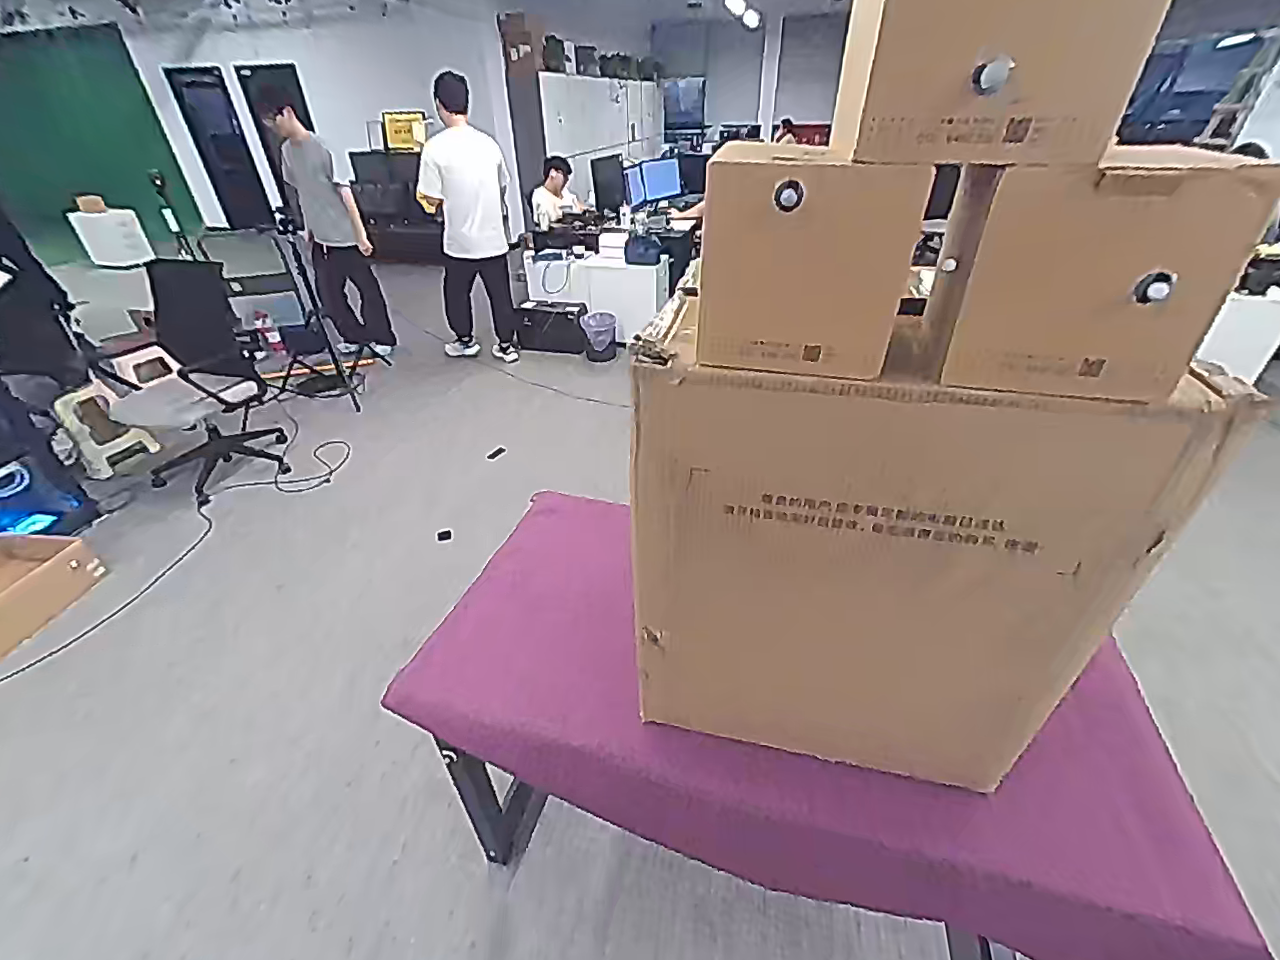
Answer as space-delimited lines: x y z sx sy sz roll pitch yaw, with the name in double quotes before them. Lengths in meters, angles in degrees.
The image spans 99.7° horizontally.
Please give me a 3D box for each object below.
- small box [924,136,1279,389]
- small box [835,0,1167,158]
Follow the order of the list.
"small box" 0.358 -0.190 0.464 0.168 0.176 0.179 10 35 16
"small box" 0.250 -0.343 0.399 0.168 0.176 0.179 6 36 9
